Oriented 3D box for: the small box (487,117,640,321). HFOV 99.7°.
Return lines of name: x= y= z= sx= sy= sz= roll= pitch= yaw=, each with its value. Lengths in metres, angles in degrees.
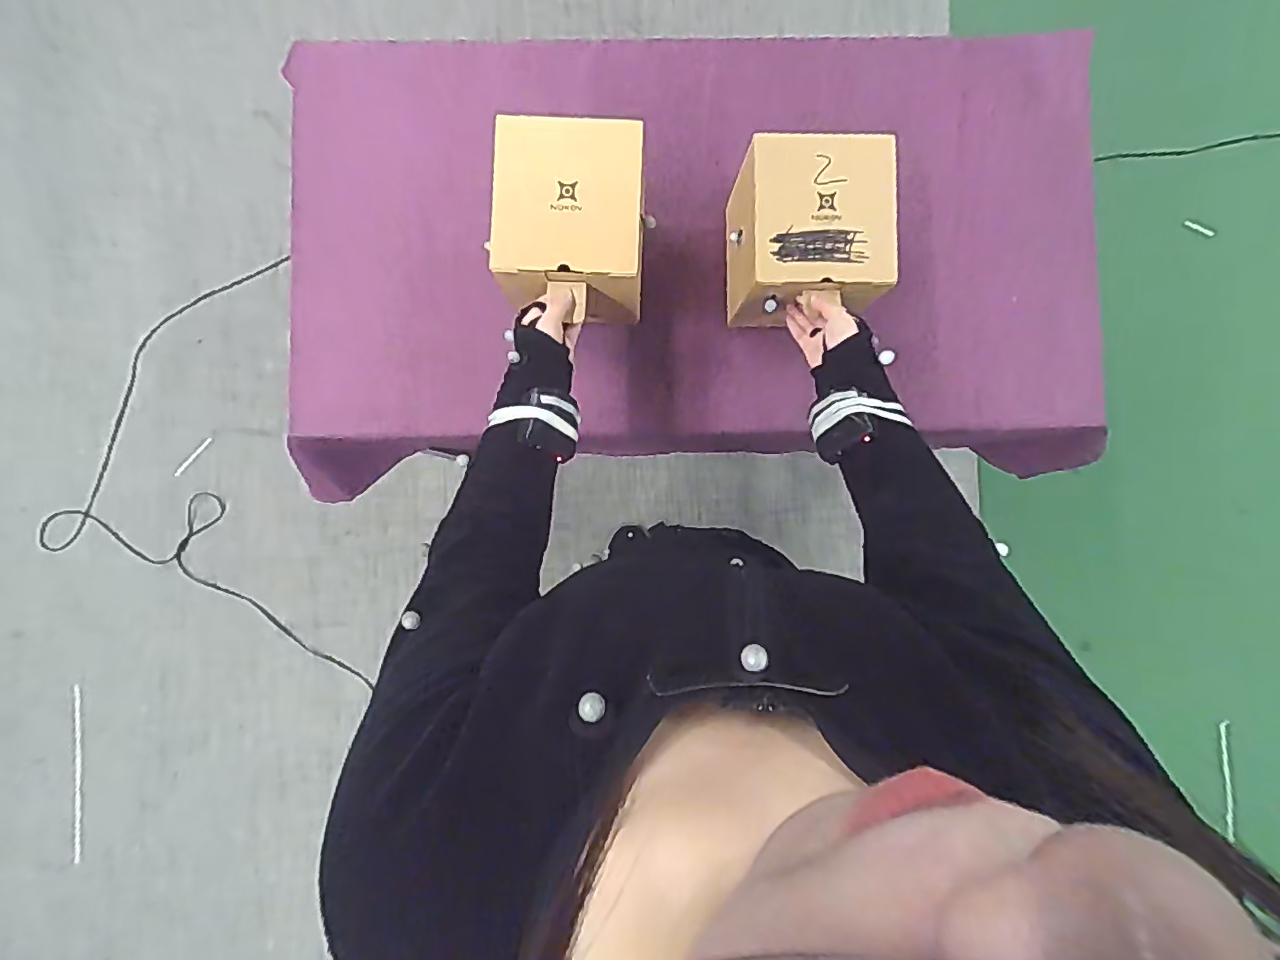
small box: x=-0.088 y=-0.318 z=0.688 sx=0.168 sy=0.176 sz=0.179 roll=2 pitch=90 yaw=-1
